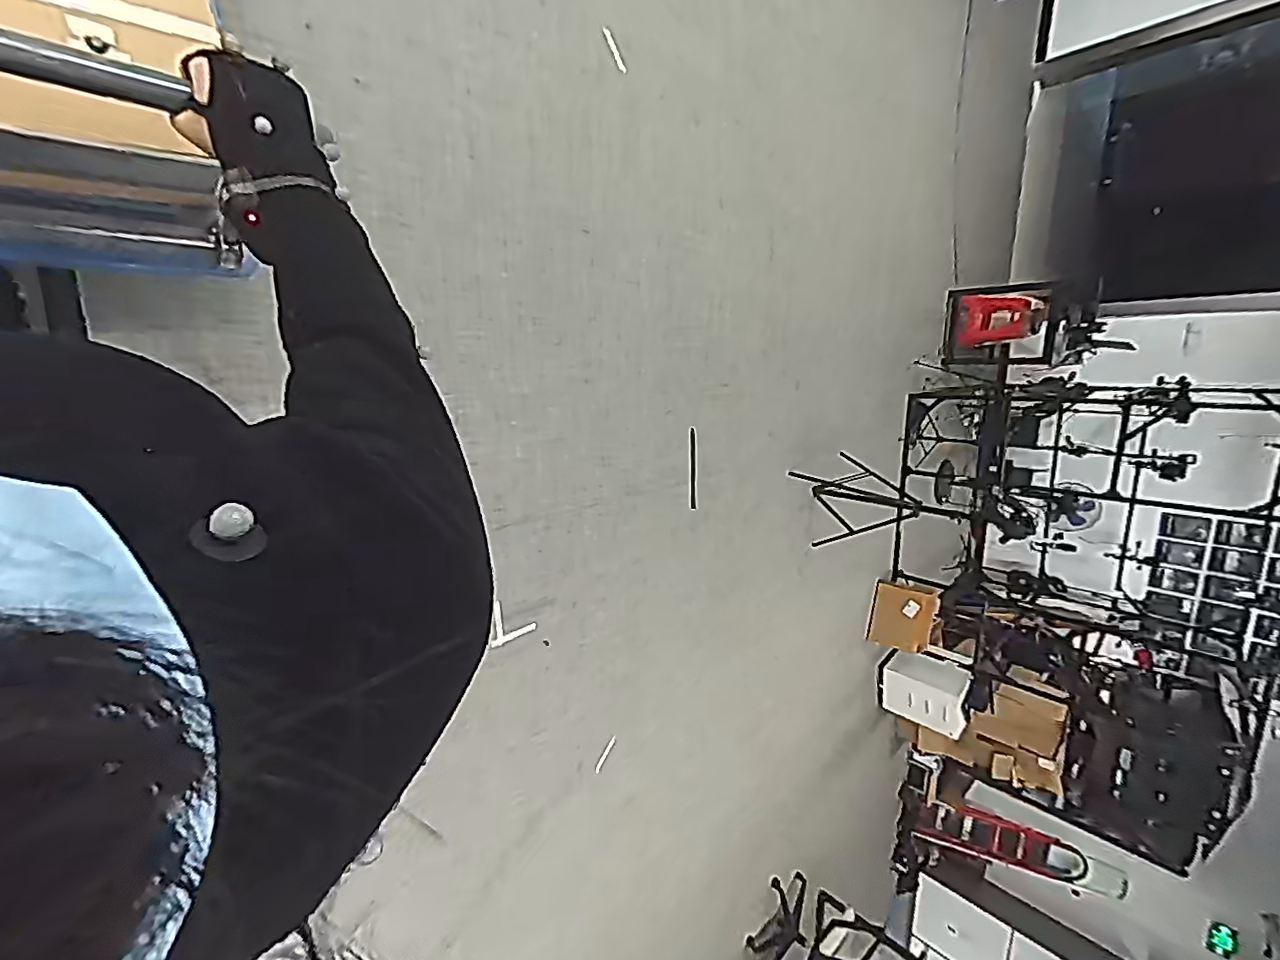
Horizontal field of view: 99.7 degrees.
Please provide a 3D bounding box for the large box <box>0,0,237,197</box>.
[{"bbox_3d":[-0.852,-0.605,0.730,0.408,0.320,0.320,-18,111,-44],"label":"large box"}]
